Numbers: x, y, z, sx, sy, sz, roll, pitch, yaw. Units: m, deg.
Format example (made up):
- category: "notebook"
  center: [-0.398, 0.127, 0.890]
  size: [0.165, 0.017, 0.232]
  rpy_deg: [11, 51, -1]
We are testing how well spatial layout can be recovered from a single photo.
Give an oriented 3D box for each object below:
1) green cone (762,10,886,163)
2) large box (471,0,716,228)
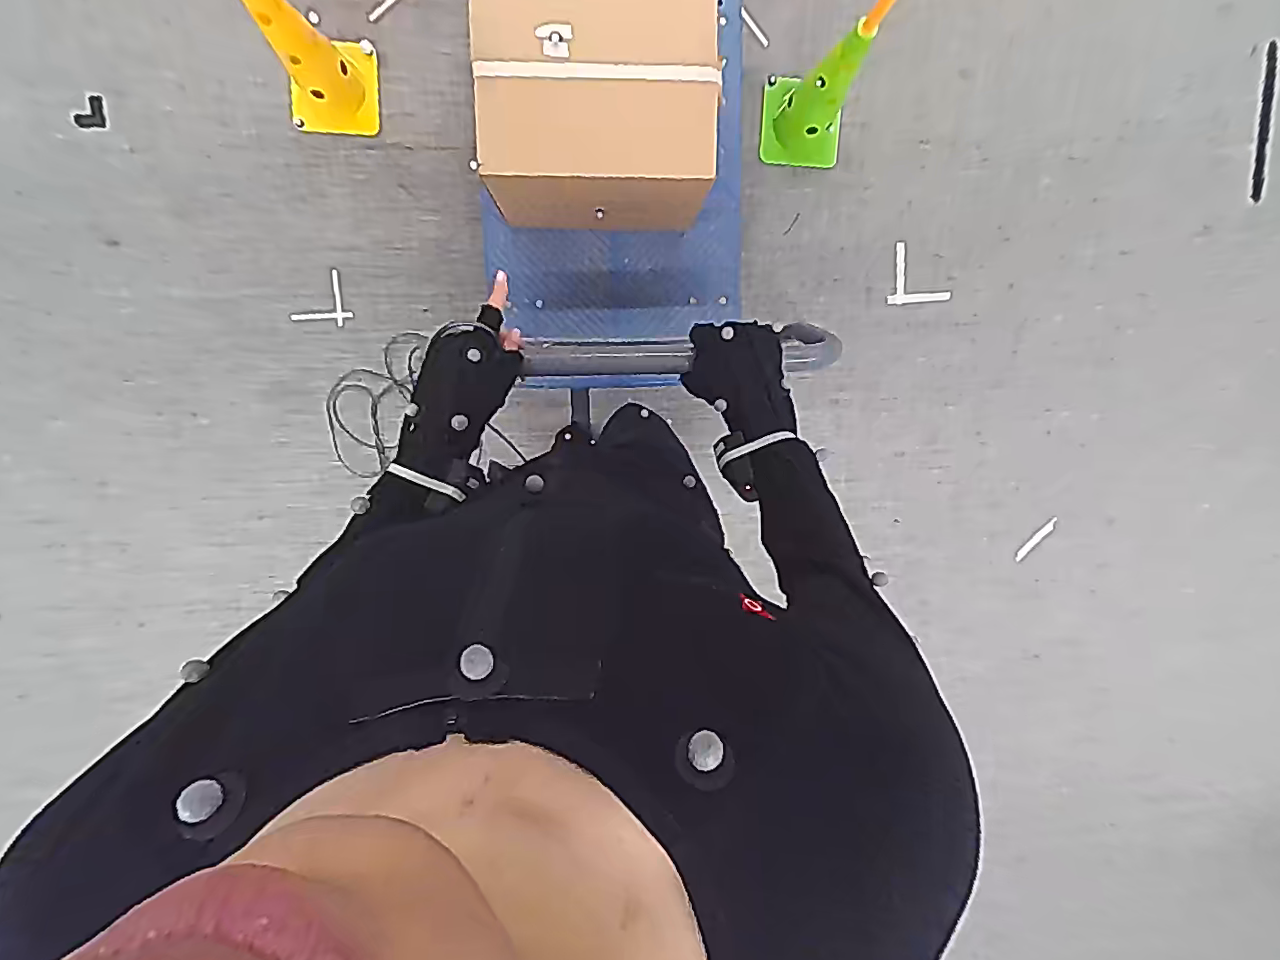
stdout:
- category: "green cone"
  center: [0.424, -0.883, 1.189]
  size: [0.202, 0.368, 0.200]
  rpy_deg: [2, 99, -5]
- category: "large box"
  center: [-0.076, -0.689, 1.043]
  size: [0.408, 0.320, 0.320]
  rpy_deg: [-1, 99, -3]
